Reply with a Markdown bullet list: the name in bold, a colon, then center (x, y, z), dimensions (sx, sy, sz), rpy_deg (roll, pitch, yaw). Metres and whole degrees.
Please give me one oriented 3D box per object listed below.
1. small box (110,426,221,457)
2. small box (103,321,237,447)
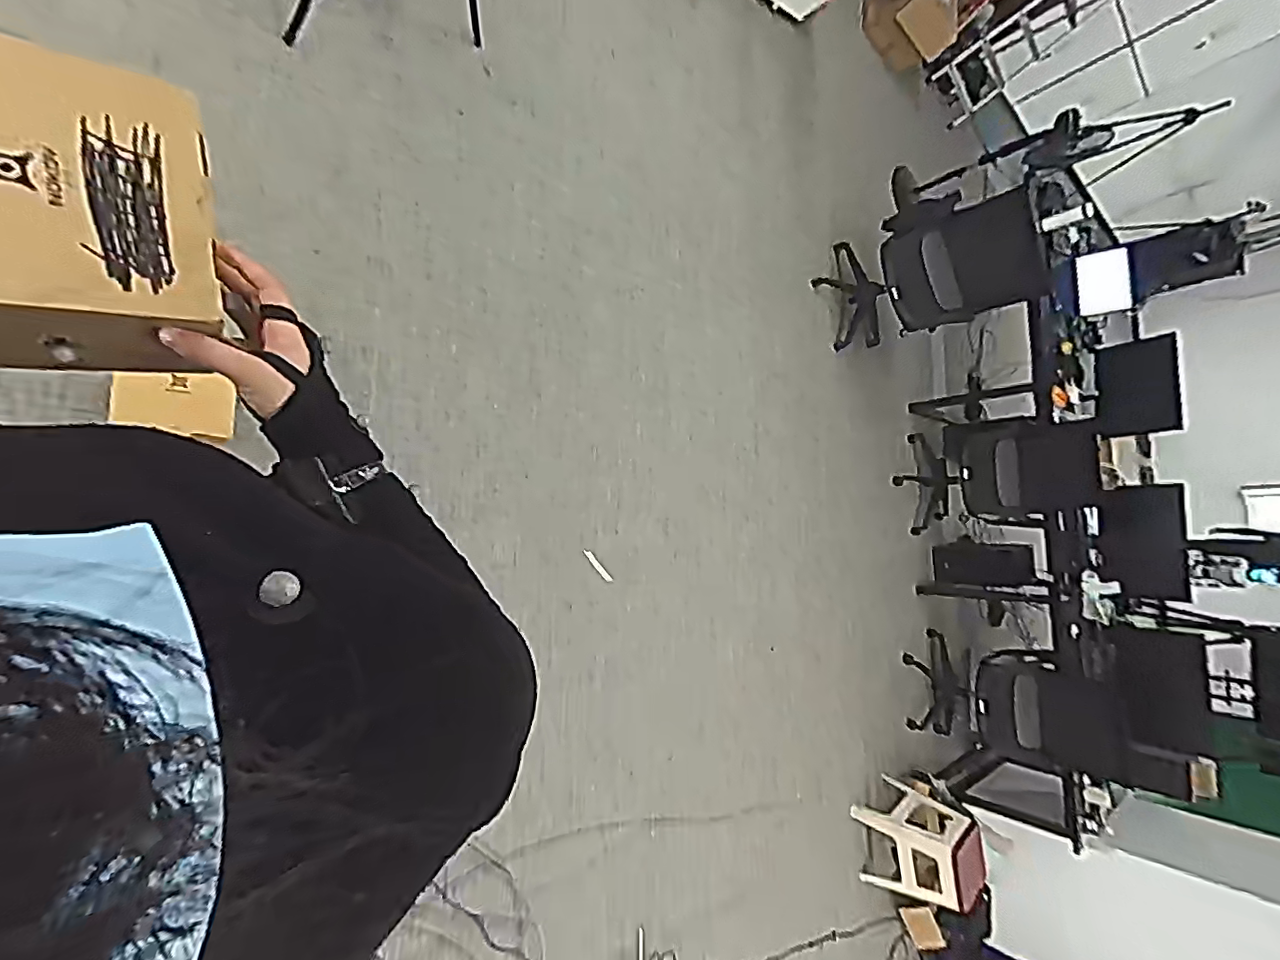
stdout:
- **small box**: center (-0.963, -0.143, 1.113), dimensions (0.168, 0.176, 0.179), rpy_deg (3, 83, -40)
- **small box**: center (-0.855, -0.165, 0.992), dimensions (0.168, 0.176, 0.179), rpy_deg (6, 83, -39)
